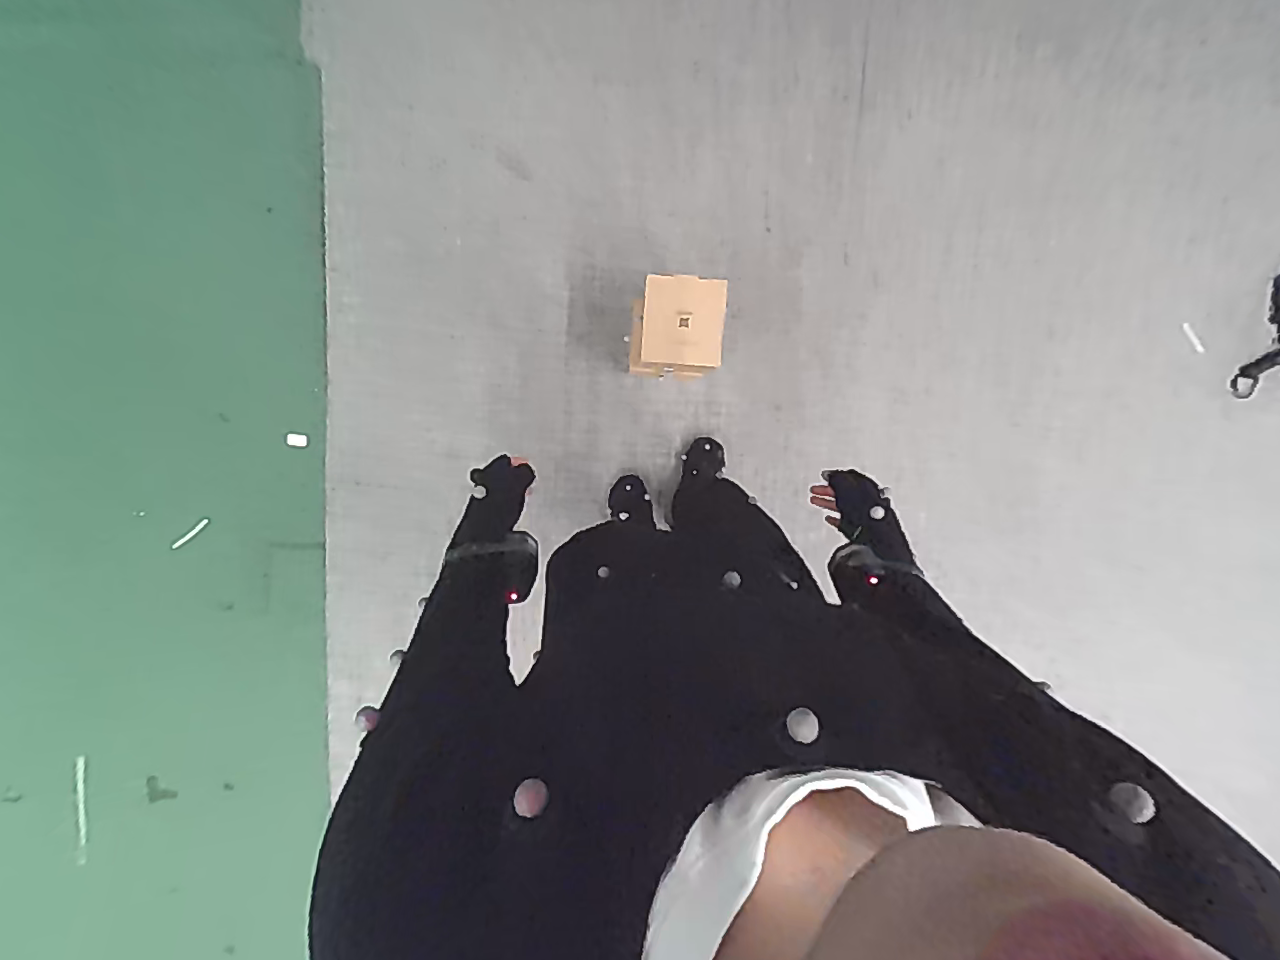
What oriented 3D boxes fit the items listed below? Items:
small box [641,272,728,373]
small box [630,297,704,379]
[{"bbox_3d":[0.090,-0.333,1.173,0.168,0.176,0.179,4,96,-1],"label":"small box"},{"bbox_3d":[0.068,-0.342,1.333,0.179,0.176,0.168,4,95,-2],"label":"small box"}]
